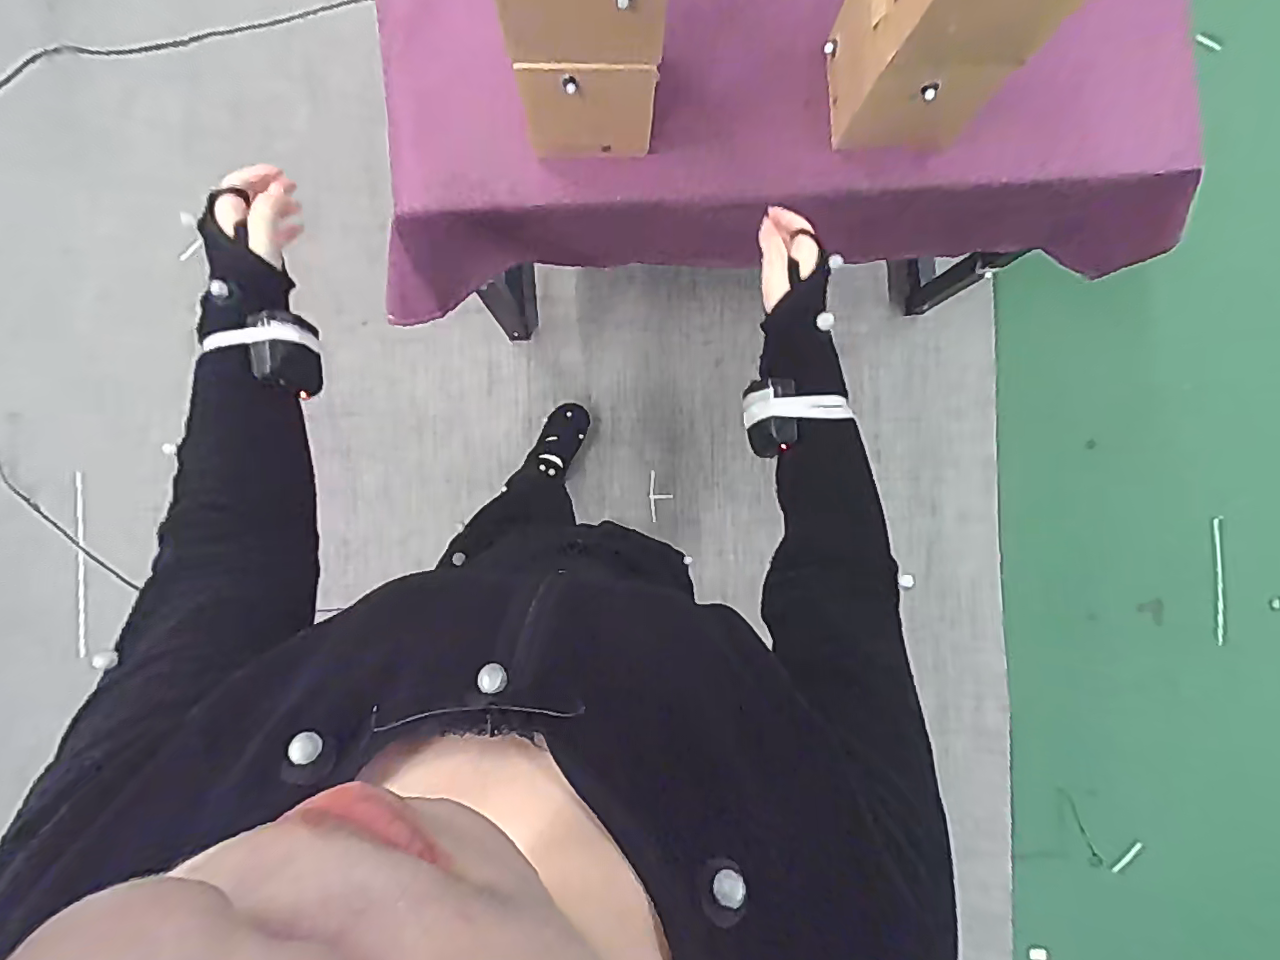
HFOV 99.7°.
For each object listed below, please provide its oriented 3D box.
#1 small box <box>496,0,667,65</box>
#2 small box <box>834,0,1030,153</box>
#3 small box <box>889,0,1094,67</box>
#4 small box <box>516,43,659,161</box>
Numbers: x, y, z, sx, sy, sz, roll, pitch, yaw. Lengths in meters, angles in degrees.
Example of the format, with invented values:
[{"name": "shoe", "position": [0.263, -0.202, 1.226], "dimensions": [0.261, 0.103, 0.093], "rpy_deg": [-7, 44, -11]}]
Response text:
[{"name": "small box", "position": [-0.057, -0.554, 0.537], "dimensions": [0.179, 0.176, 0.168], "rpy_deg": [0, 88, -2]}, {"name": "small box", "position": [0.371, -0.565, 0.720], "dimensions": [0.179, 0.176, 0.168], "rpy_deg": [-2, 89, -3]}, {"name": "small box", "position": [0.382, -0.568, 0.557], "dimensions": [0.179, 0.176, 0.168], "rpy_deg": [-3, 90, -2]}, {"name": "small box", "position": [-0.064, -0.551, 0.700], "dimensions": [0.168, 0.176, 0.179], "rpy_deg": [-1, 88, -2]}]
